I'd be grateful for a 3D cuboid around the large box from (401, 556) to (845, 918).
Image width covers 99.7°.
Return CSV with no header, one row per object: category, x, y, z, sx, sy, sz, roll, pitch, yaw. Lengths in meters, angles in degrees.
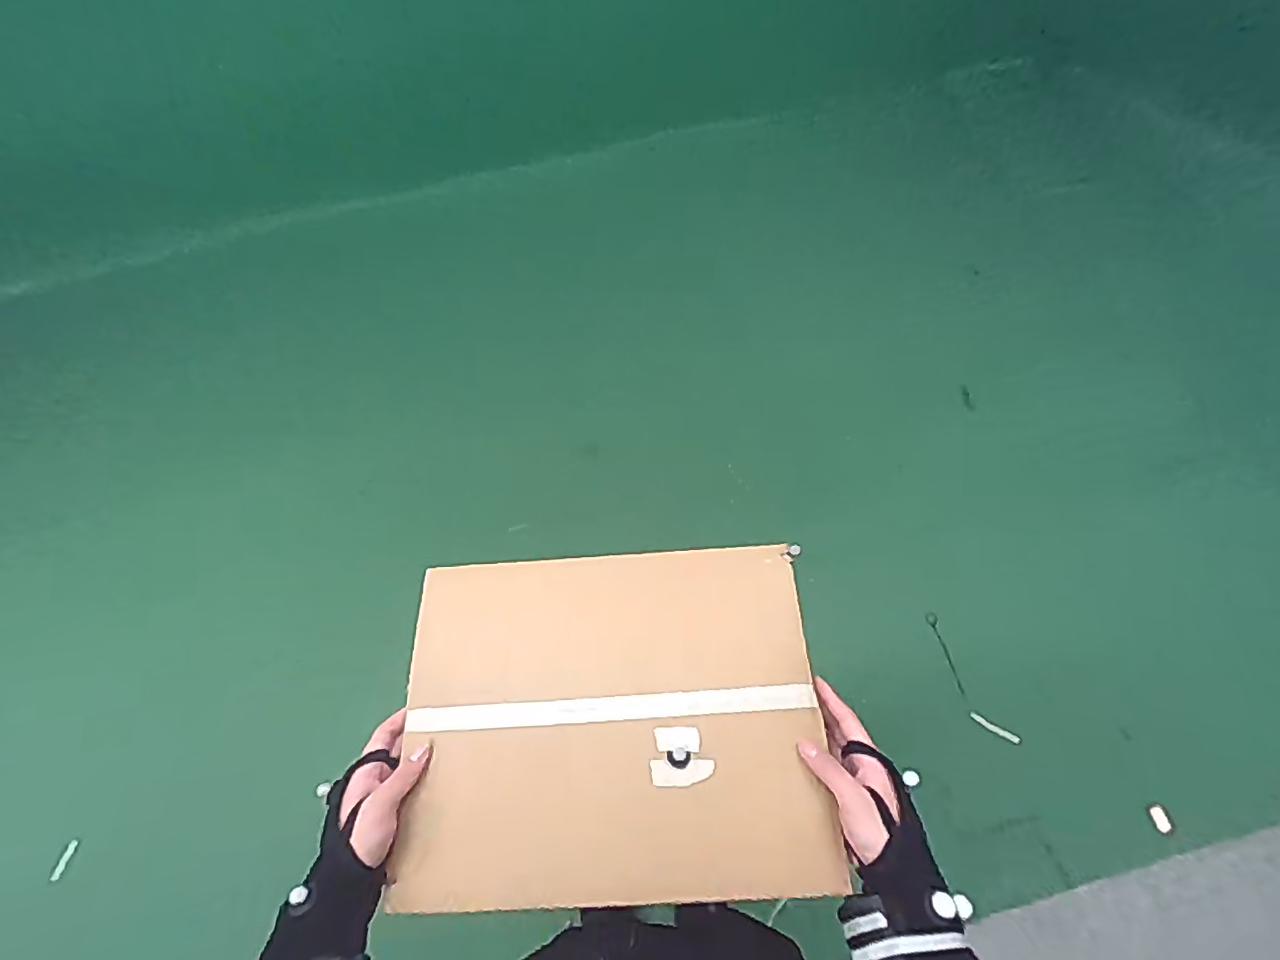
large box,-0.018,0.304,0.673,0.408,0.320,0.320,-4,63,2
